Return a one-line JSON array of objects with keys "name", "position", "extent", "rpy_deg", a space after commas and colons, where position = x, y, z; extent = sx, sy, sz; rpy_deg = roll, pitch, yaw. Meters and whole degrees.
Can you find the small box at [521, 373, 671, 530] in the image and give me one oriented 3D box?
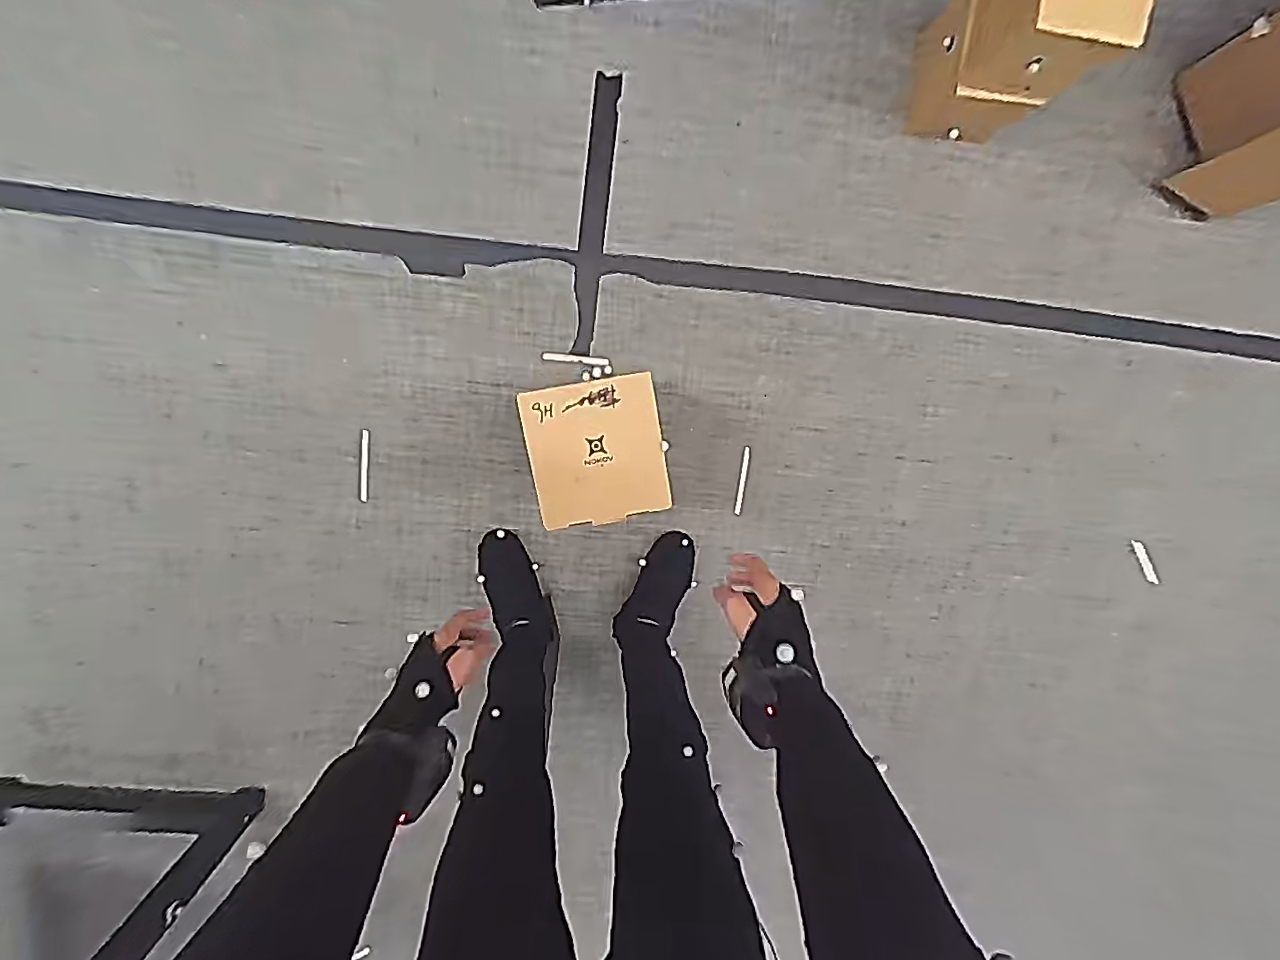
[{"name": "small box", "position": [-0.056, -0.048, 0.746], "extent": [0.168, 0.176, 0.179], "rpy_deg": [-10, 102, -3]}]
